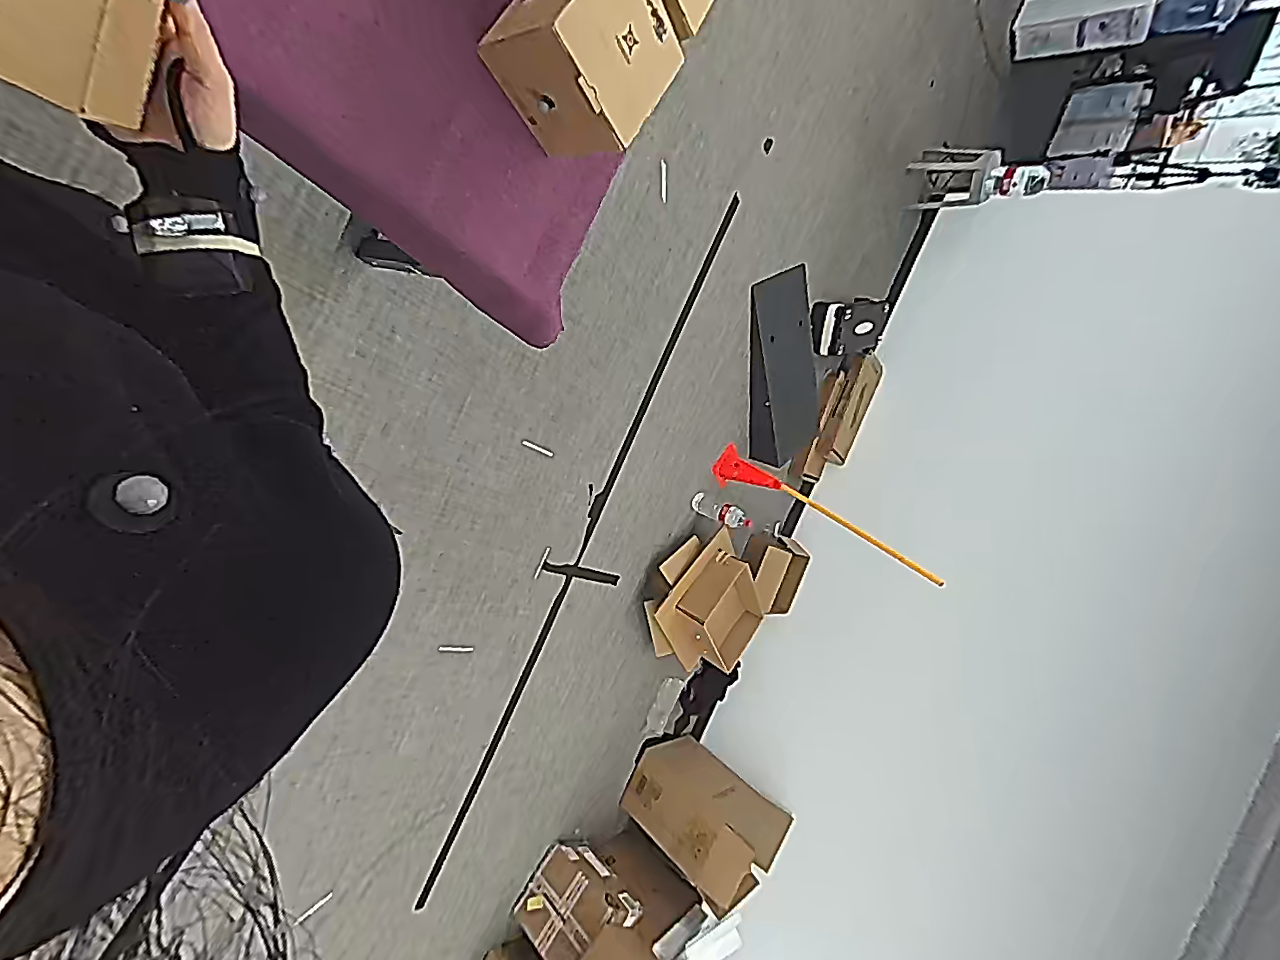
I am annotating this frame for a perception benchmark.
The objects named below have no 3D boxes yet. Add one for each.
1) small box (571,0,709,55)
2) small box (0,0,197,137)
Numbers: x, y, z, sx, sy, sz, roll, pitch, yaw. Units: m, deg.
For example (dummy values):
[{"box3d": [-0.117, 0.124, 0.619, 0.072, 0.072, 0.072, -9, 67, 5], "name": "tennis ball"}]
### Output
[{"box3d": [0.002, -0.749, 0.756, 0.168, 0.176, 0.179, 32, 82, -53], "name": "small box"}, {"box3d": [-0.312, -0.290, 0.242, 0.168, 0.176, 0.179, 17, 106, -41], "name": "small box"}]
